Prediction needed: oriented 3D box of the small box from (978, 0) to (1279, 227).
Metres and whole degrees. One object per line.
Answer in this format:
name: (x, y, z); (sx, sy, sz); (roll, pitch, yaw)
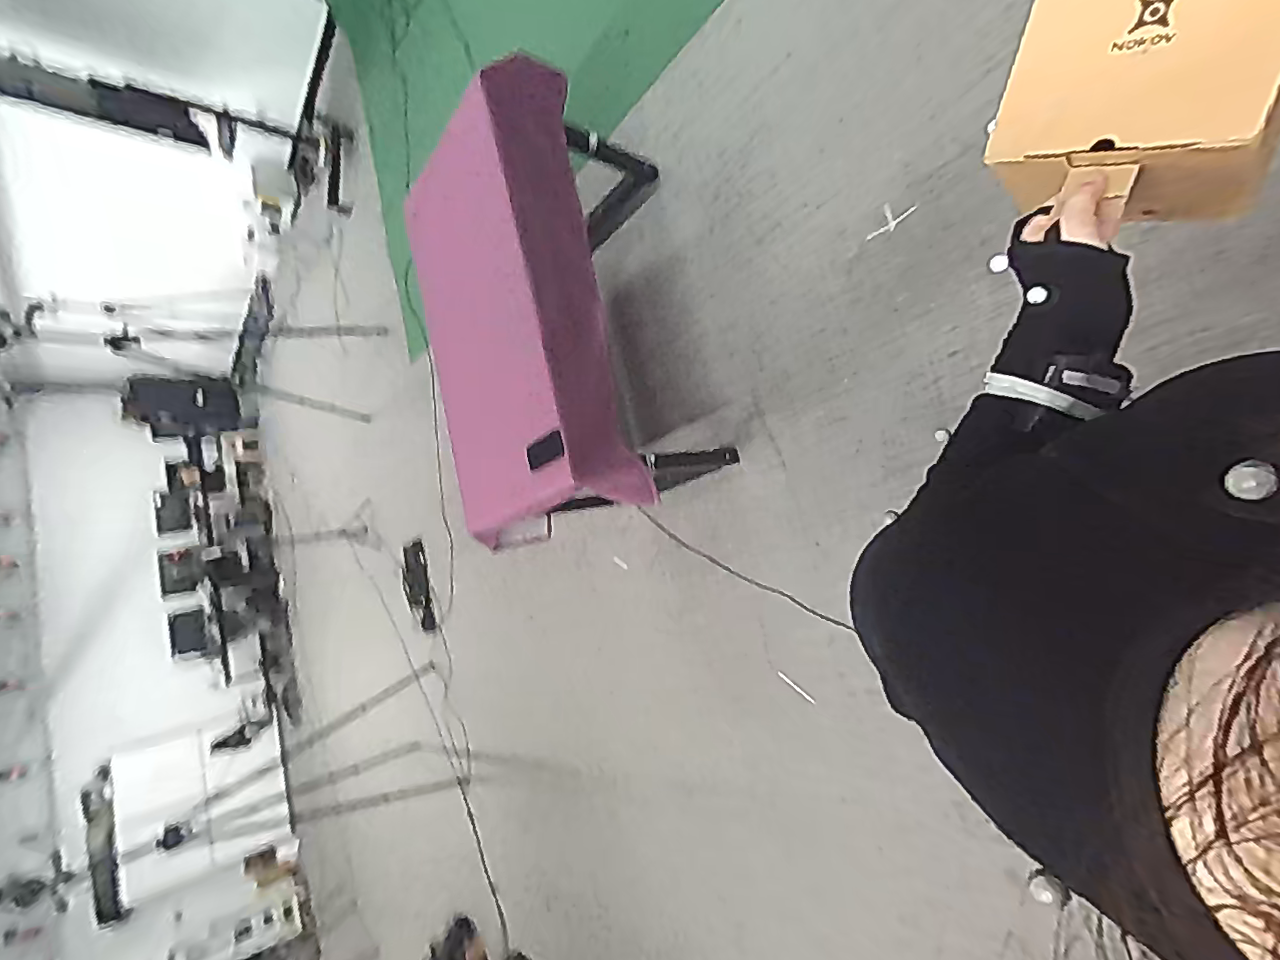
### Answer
small box: (0.419, -0.330, 0.452); (0.168, 0.176, 0.179); (24, 109, 41)
